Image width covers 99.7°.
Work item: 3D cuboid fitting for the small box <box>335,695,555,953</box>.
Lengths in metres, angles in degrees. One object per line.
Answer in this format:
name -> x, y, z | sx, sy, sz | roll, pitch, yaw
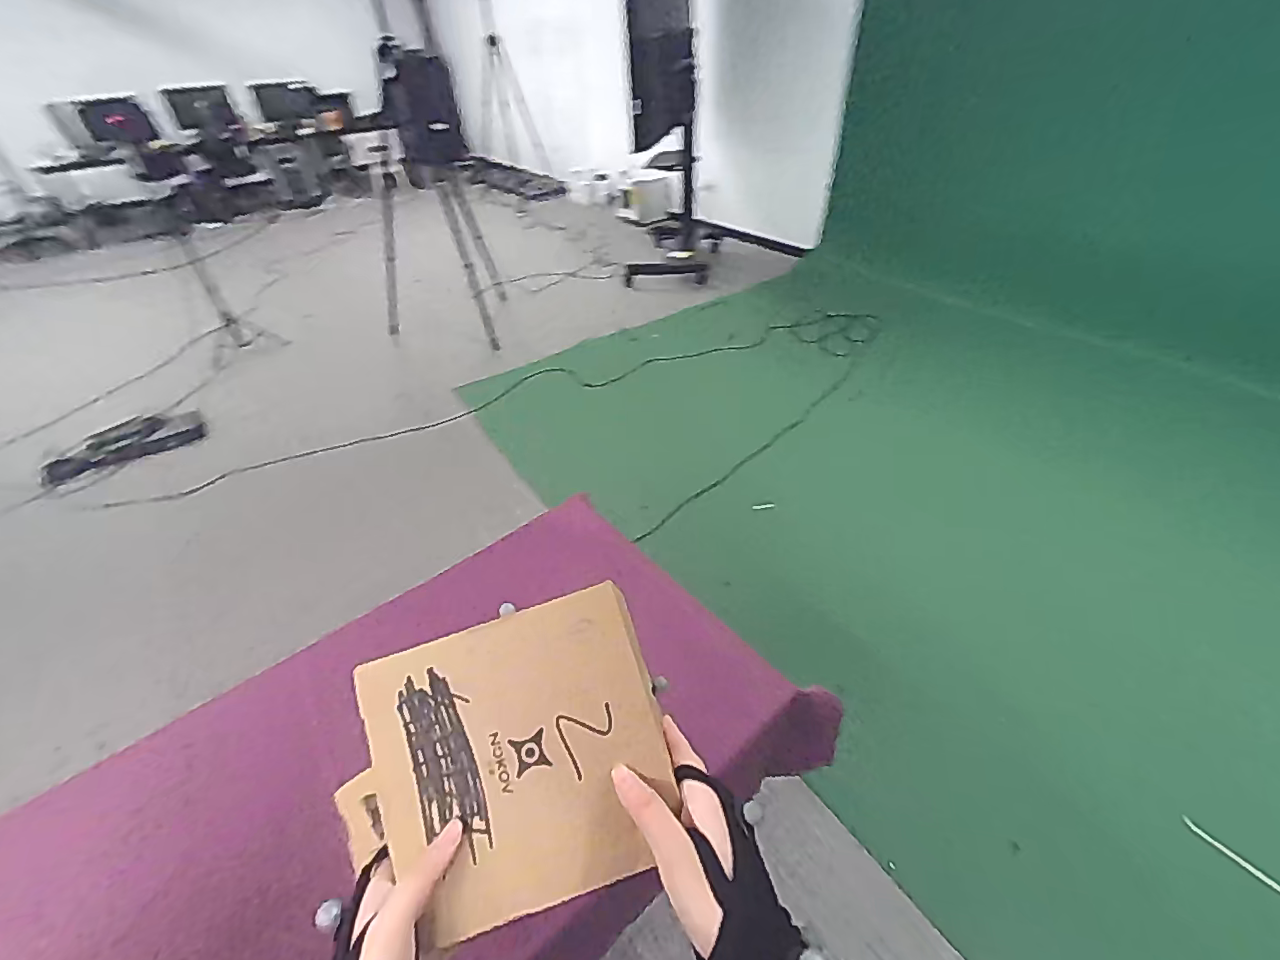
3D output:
small box -> -0.222, 0.405, 0.643 | 0.179, 0.176, 0.168 | -28, 46, -26
